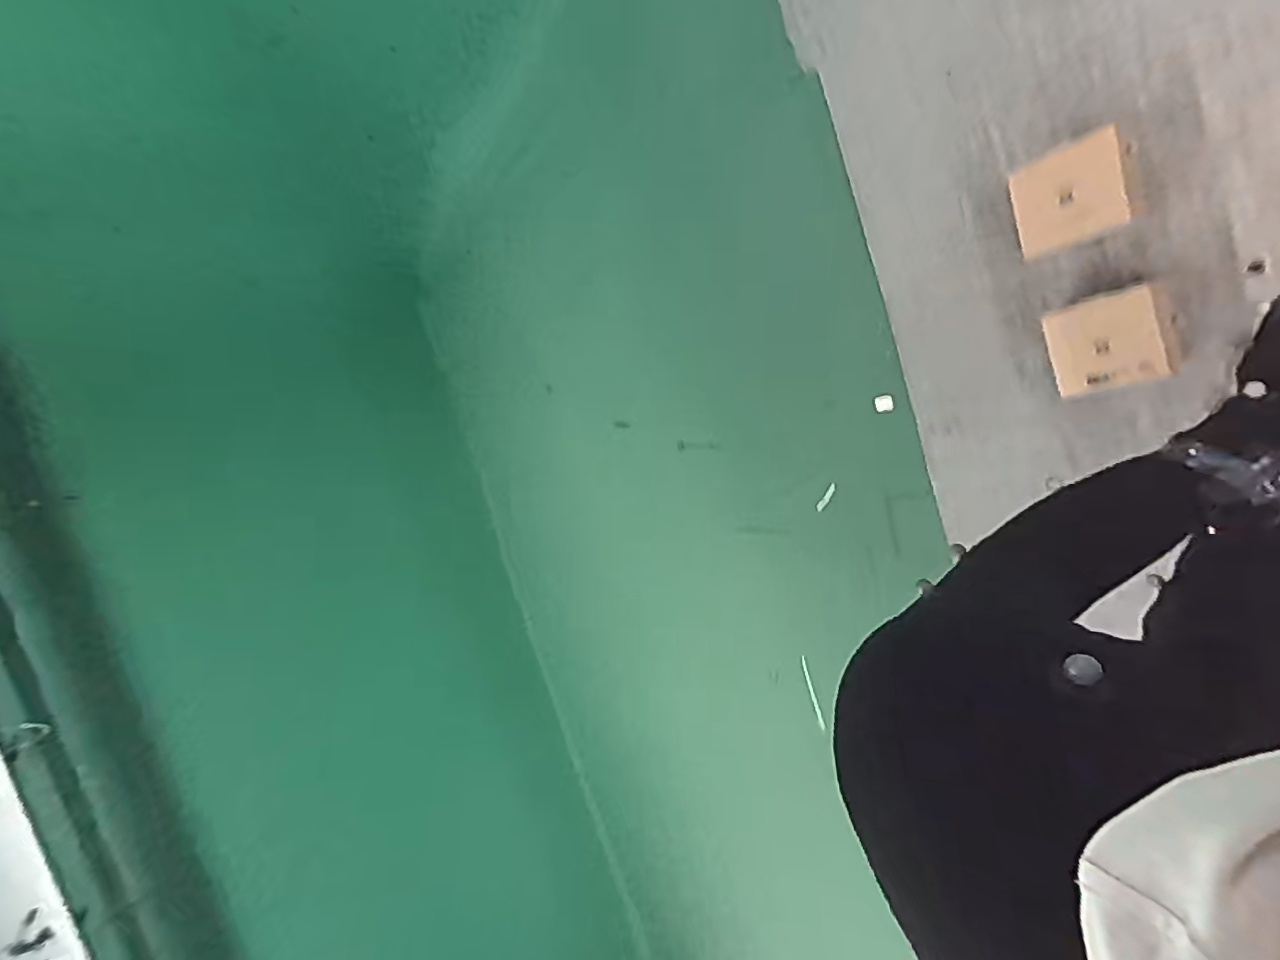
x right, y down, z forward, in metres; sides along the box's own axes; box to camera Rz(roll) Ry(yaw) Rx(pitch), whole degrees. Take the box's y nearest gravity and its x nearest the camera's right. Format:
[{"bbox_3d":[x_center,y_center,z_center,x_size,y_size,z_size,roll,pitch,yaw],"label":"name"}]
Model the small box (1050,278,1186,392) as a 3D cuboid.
[{"bbox_3d":[0.956,-0.289,1.081,0.168,0.176,0.179,-11,97,53],"label":"small box"}]
